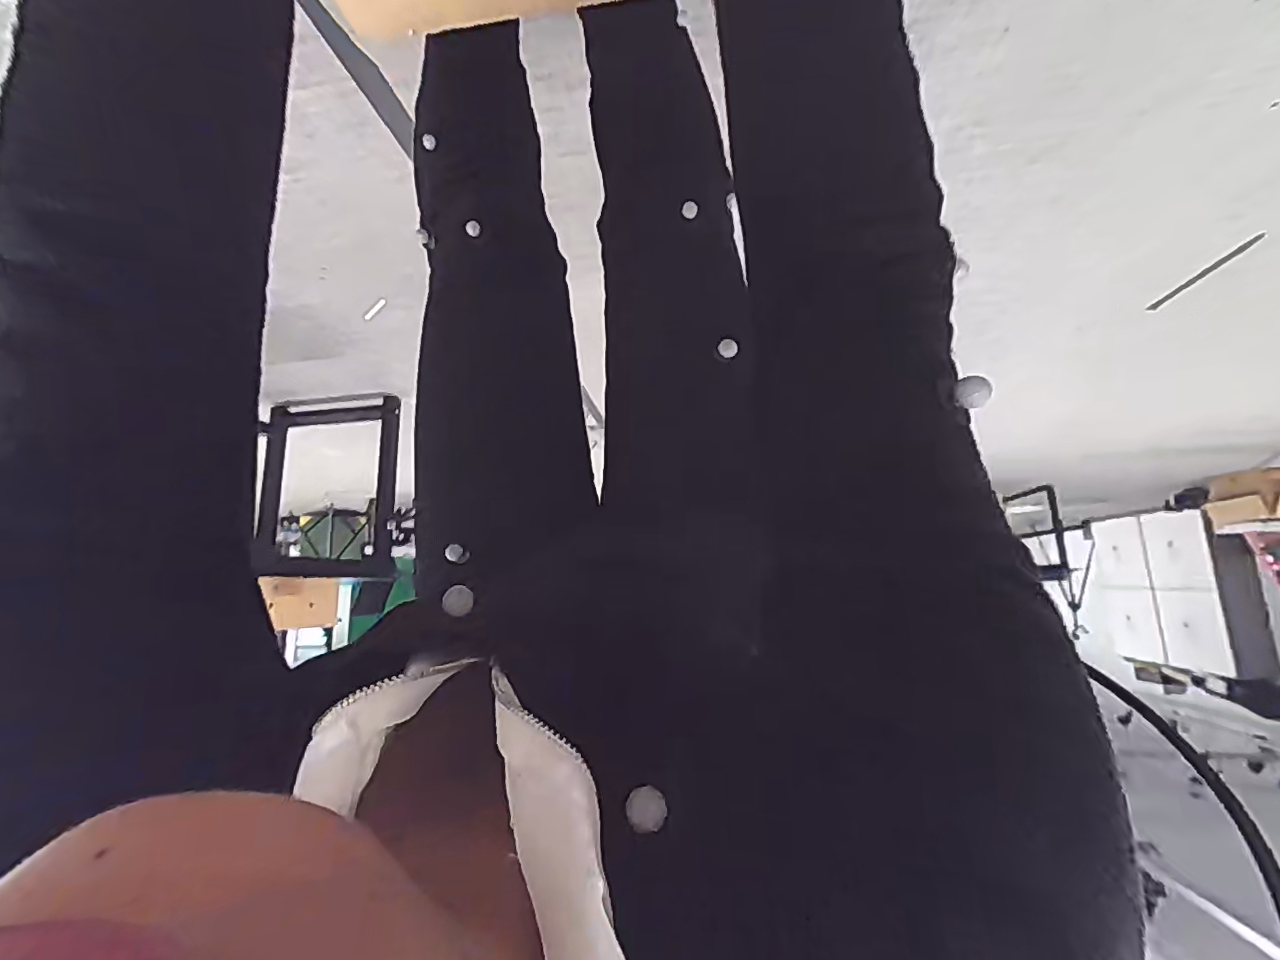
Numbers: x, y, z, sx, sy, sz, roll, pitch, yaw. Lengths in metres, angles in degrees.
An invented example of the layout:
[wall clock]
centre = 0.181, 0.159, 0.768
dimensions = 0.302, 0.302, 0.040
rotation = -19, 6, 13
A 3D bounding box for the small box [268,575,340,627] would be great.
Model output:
[small box]
centre = -1.180, 0.419, 1.883
dimensions = 0.168, 0.176, 0.179
rotation = -2, 170, 11
